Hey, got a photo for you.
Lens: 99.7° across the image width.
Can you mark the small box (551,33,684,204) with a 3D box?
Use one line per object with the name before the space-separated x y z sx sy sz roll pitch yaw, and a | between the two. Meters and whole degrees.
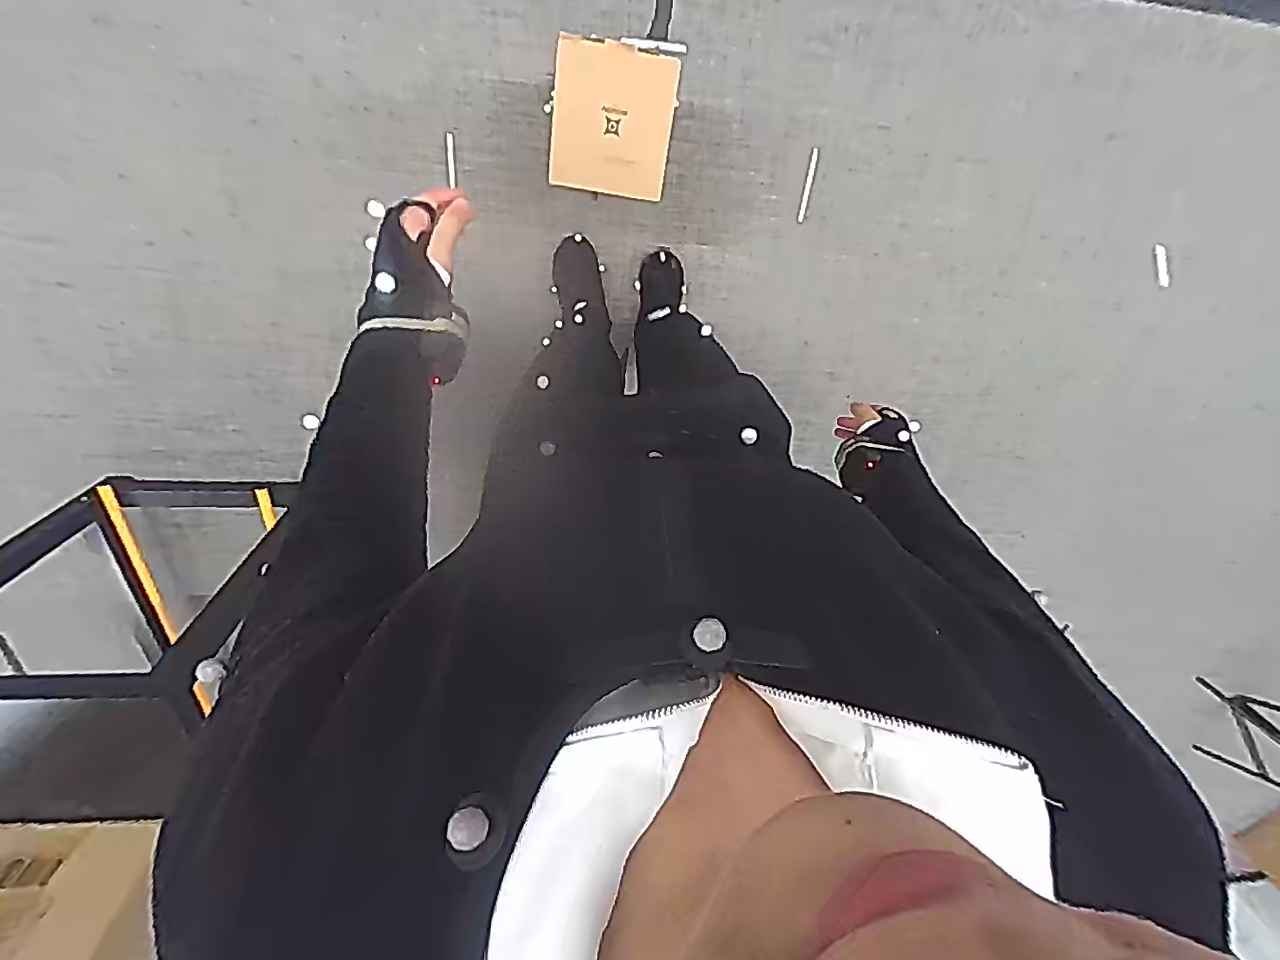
small box | -0.042 -0.530 0.811 0.168 0.176 0.179 5 121 -8
